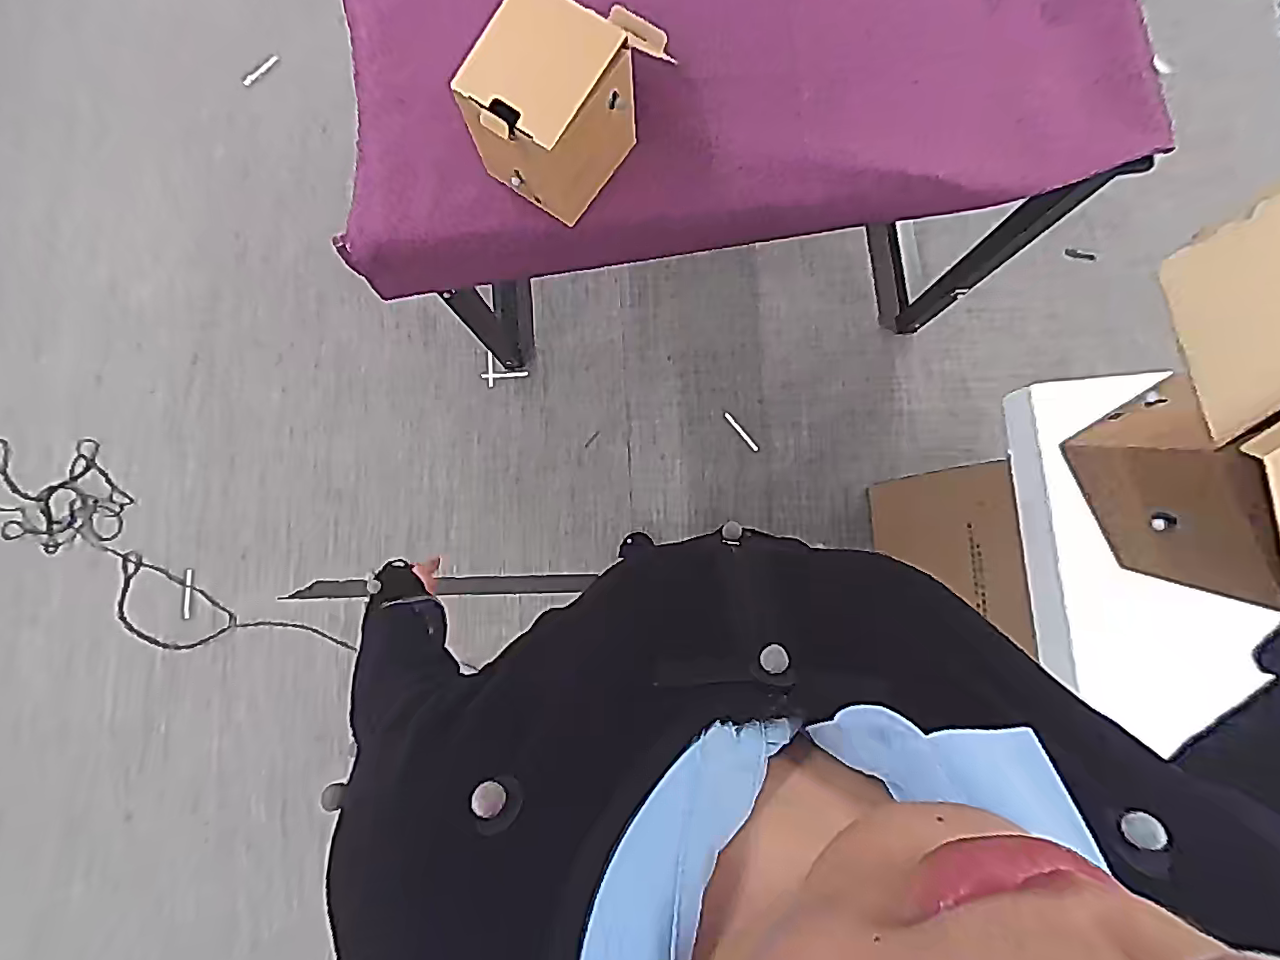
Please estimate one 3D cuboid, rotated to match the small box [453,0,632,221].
[{"bbox_3d":[-0.124,-0.518,0.768,0.168,0.176,0.179,35,86,6],"label":"small box"}]
